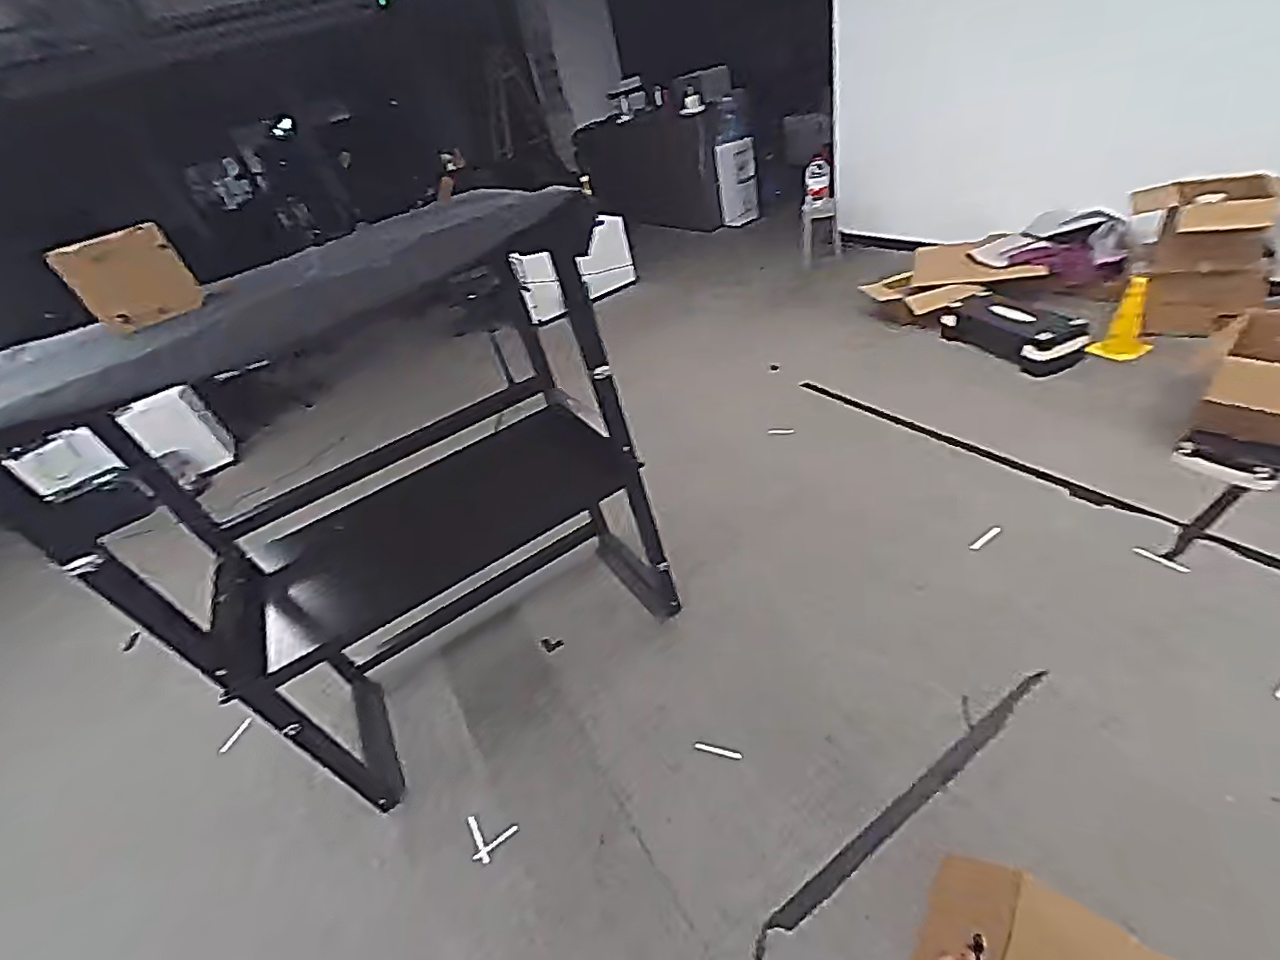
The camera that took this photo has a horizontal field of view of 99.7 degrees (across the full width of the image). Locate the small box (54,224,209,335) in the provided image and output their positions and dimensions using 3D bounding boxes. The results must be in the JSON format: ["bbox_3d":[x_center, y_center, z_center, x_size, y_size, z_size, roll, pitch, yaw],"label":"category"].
[{"bbox_3d":[-1.072,-0.429,1.161,0.168,0.176,0.179,-30,38,-17],"label":"small box"}]
